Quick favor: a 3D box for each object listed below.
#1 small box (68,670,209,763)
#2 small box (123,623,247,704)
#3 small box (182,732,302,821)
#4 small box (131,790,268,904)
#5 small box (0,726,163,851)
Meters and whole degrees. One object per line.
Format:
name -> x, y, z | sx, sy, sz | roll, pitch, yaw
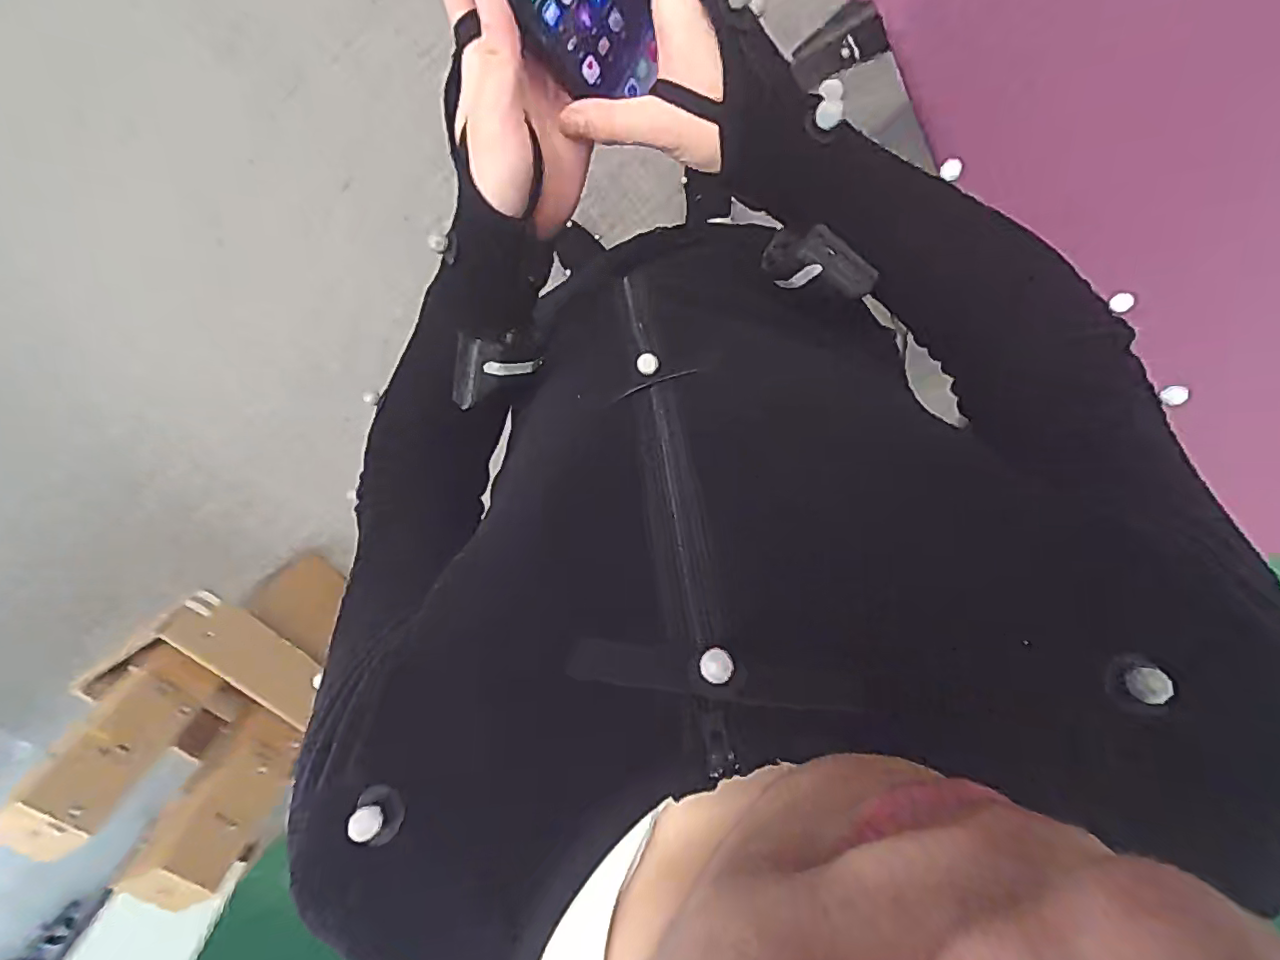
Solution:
small box -> -1.263, 0.620, 1.381 | 0.179, 0.176, 0.168 | -28, 116, 15
small box -> -1.269, 0.539, 1.525 | 0.179, 0.176, 0.168 | -29, 115, 15
small box -> -1.098, 0.843, 1.509 | 0.179, 0.176, 0.168 | -27, 117, 15
small box -> -1.099, 0.924, 1.367 | 0.179, 0.176, 0.168 | -28, 117, 15
small box -> -1.268, 0.704, 1.241 | 0.179, 0.176, 0.168 | -31, 115, 17
